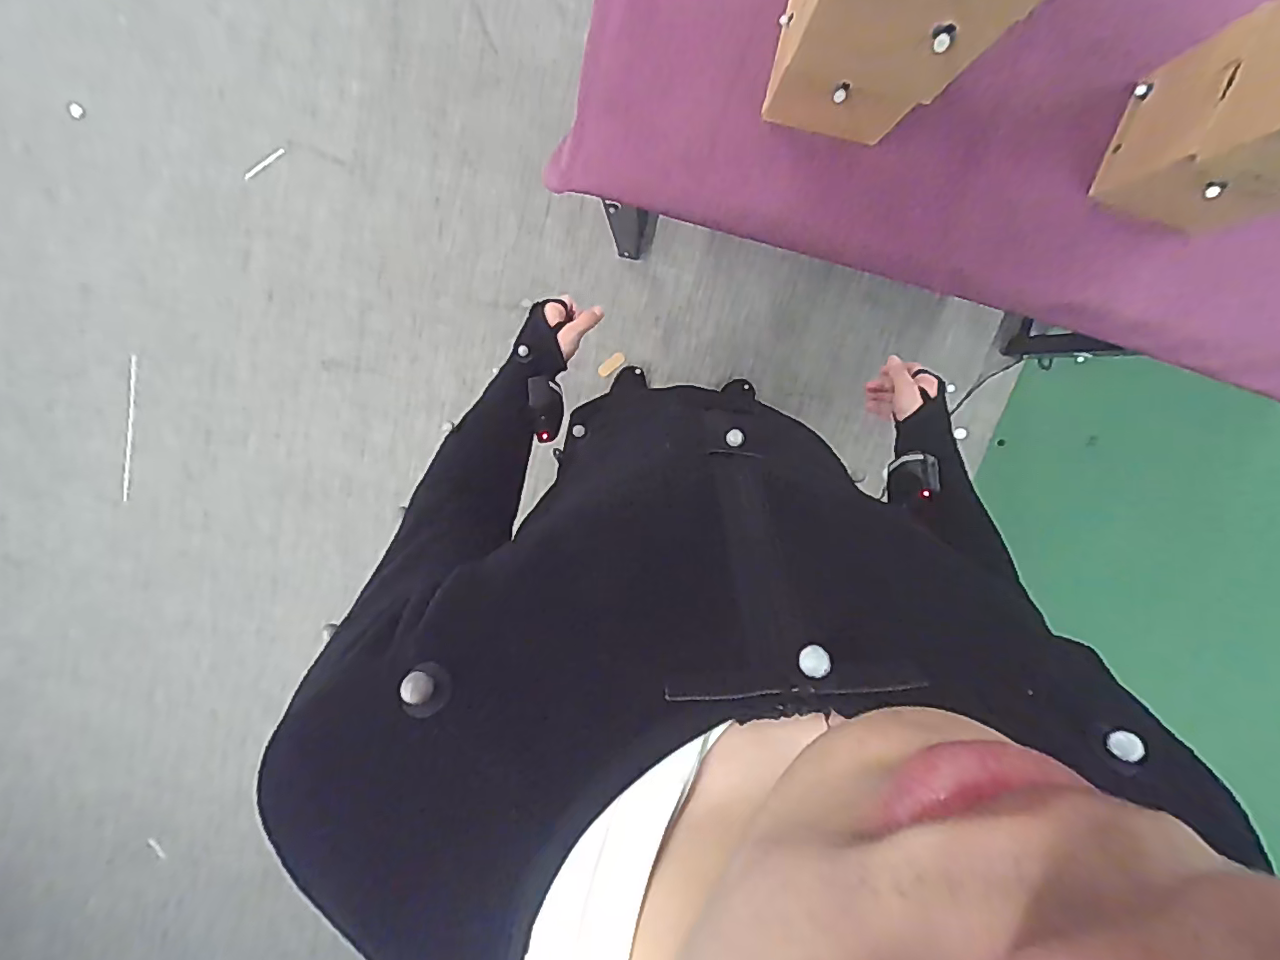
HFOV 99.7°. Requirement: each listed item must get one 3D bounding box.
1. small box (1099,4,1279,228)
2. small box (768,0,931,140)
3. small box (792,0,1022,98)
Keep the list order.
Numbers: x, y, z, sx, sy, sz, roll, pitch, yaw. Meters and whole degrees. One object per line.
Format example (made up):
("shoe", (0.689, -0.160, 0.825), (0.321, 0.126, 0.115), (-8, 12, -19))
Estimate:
("small box", (0.767, -0.451, 0.704), (0.179, 0.176, 0.168), (18, 102, -2))
("small box", (0.283, -0.573, 0.702), (0.179, 0.176, 0.168), (13, 102, 0))
("small box", (0.276, -0.525, 0.543), (0.179, 0.176, 0.168), (15, 102, 0))
